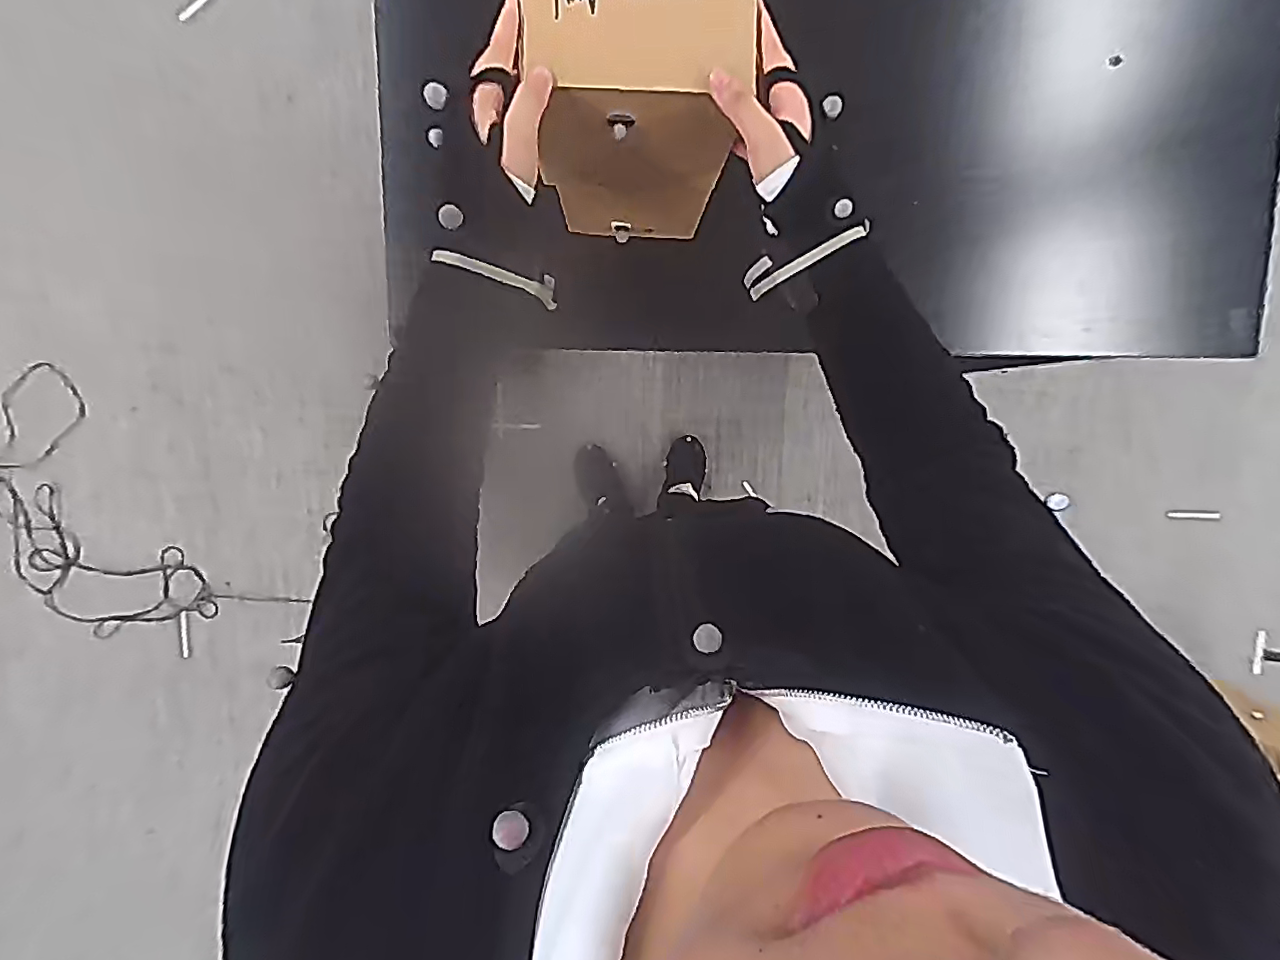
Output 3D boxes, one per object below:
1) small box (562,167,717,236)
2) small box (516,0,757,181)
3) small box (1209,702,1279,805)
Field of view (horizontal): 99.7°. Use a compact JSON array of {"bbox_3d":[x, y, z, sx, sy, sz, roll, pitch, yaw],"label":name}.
[{"bbox_3d":[-0.003,-0.403,0.627,0.168,0.176,0.179,1,98,-2],"label":"small box"},{"bbox_3d":[-0.004,-0.377,0.463,0.179,0.176,0.168,0,97,-3],"label":"small box"},{"bbox_3d":[1.635,0.698,1.394,0.179,0.176,0.168,-7,98,0],"label":"small box"}]
